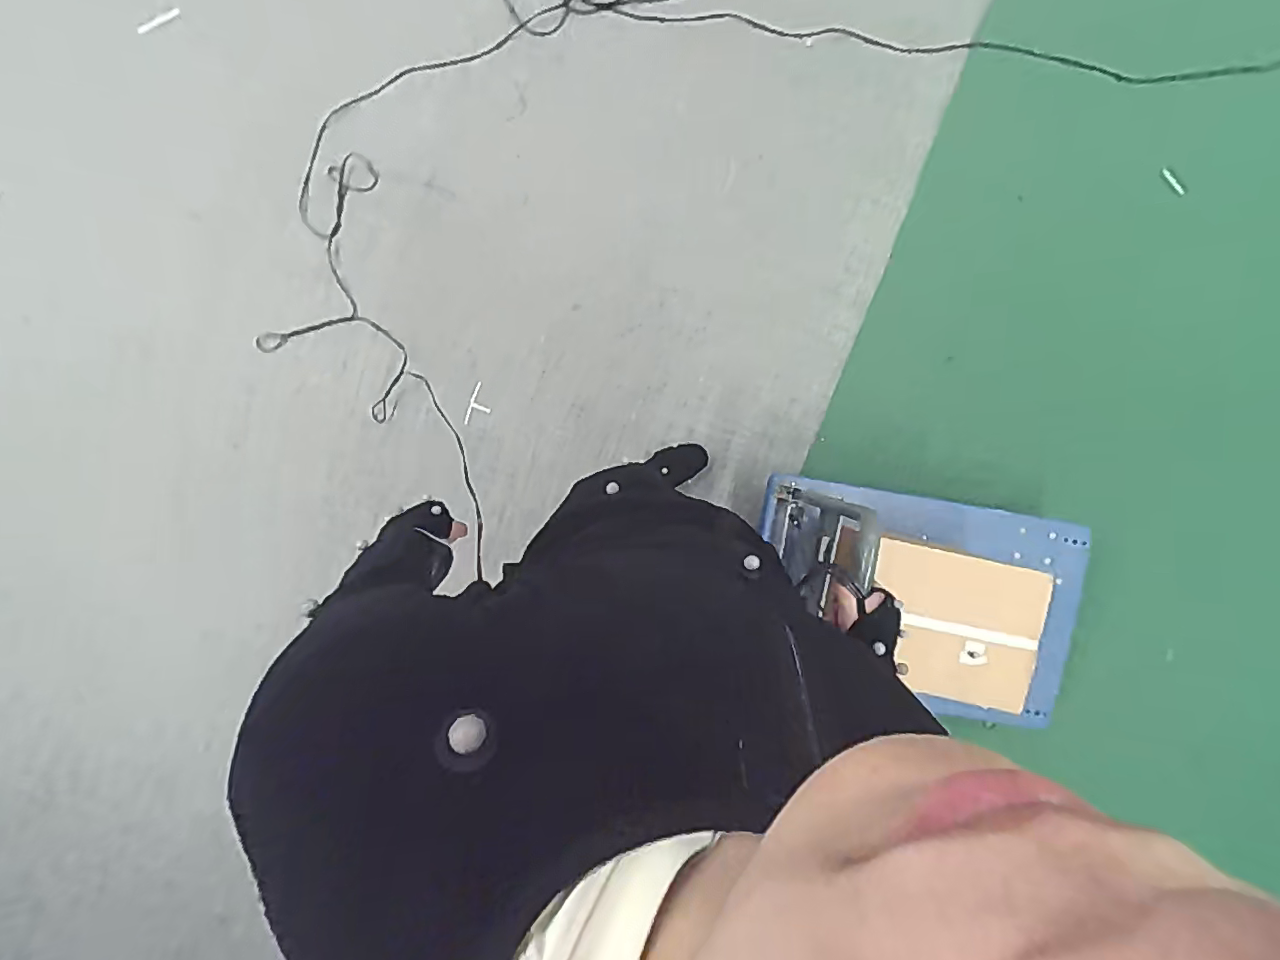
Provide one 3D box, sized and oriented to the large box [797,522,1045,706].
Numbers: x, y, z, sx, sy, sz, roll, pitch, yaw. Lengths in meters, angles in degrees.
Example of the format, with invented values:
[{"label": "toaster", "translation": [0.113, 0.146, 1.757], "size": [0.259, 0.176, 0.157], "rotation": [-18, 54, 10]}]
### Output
[{"label": "large box", "translation": [0.644, 0.299, 1.310], "size": [0.408, 0.320, 0.320], "rotation": [12, 93, -1]}]
